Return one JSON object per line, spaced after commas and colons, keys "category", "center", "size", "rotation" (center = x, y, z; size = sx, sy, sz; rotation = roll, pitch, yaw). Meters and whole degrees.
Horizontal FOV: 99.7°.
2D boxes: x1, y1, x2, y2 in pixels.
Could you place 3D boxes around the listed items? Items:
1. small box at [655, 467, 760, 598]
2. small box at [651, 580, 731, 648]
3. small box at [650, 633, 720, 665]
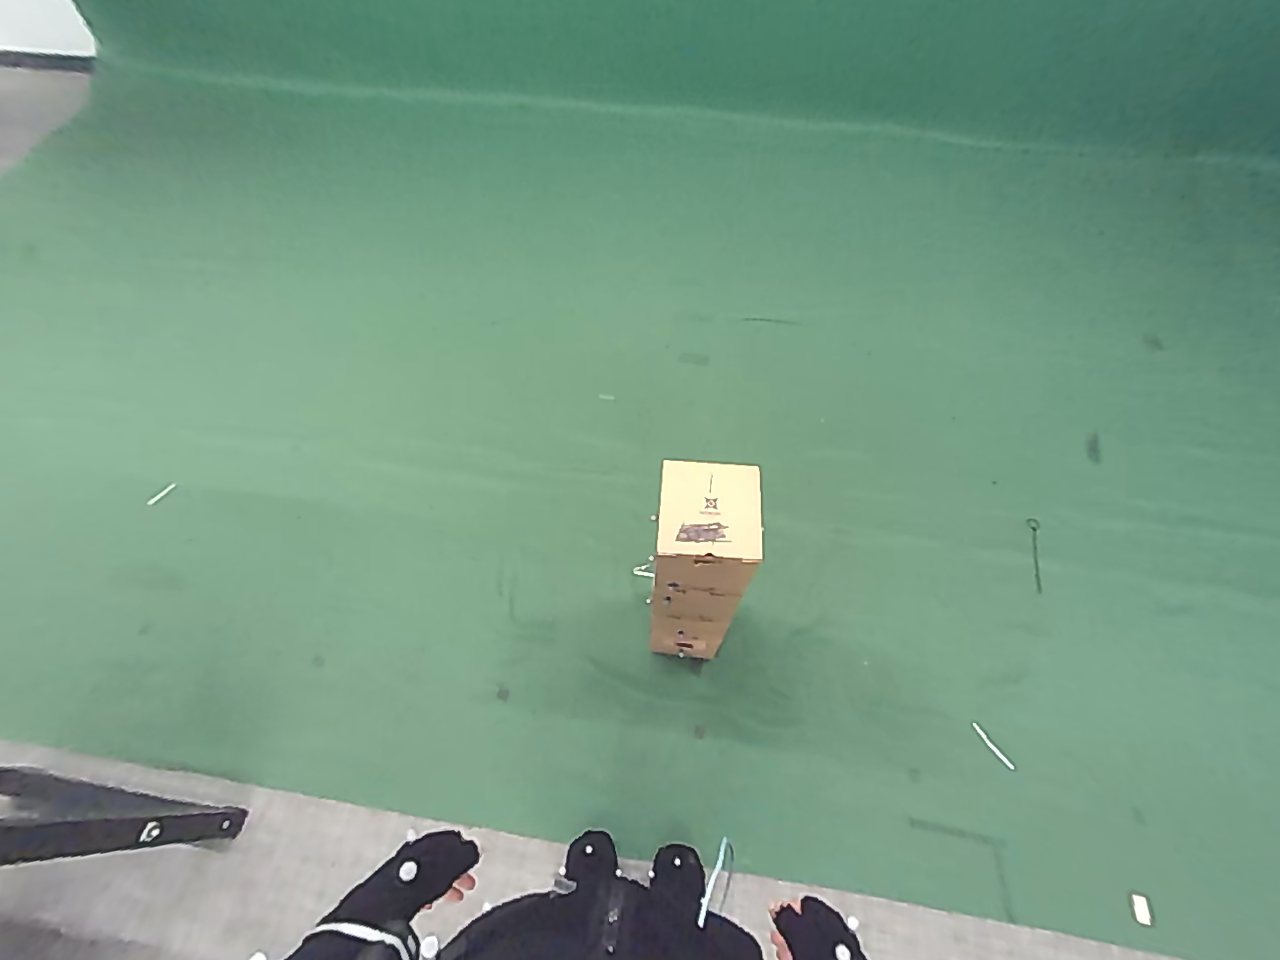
{"category": "small box", "center": [0.114, 0.098, 0.953], "size": [0.168, 0.176, 0.179], "rotation": [4, 58, 2]}
{"category": "small box", "center": [0.115, 0.270, 1.233], "size": [0.168, 0.176, 0.179], "rotation": [5, 60, 3]}
{"category": "small box", "center": [0.117, 0.354, 1.372], "size": [0.168, 0.176, 0.179], "rotation": [6, 59, 4]}
